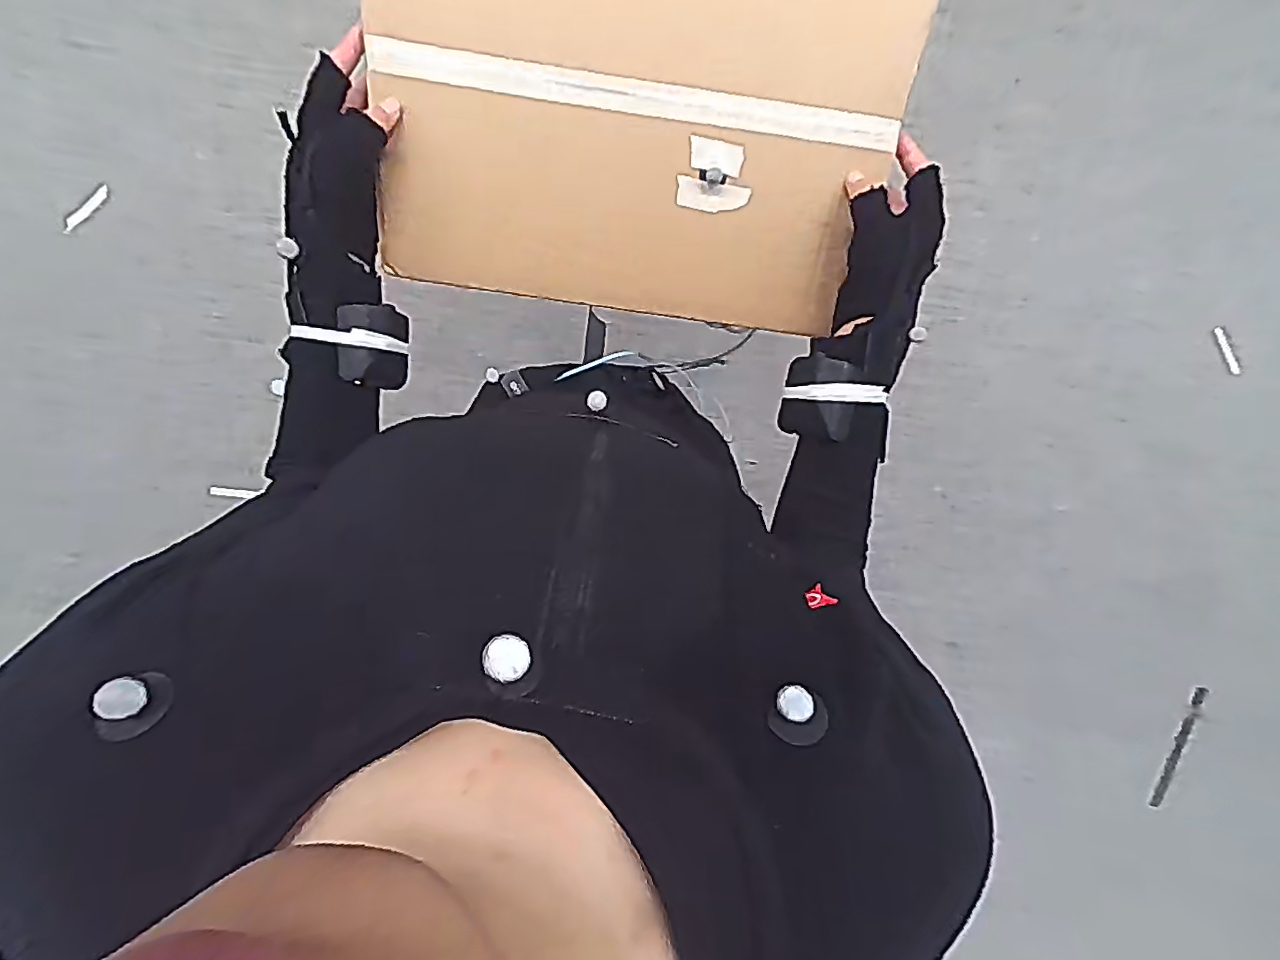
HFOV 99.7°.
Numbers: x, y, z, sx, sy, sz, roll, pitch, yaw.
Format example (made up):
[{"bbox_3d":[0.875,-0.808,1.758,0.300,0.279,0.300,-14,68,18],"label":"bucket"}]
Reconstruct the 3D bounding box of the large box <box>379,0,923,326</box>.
[{"bbox_3d":[-0.001,-0.364,0.555,0.408,0.320,0.320,7,117,-4],"label":"large box"}]
